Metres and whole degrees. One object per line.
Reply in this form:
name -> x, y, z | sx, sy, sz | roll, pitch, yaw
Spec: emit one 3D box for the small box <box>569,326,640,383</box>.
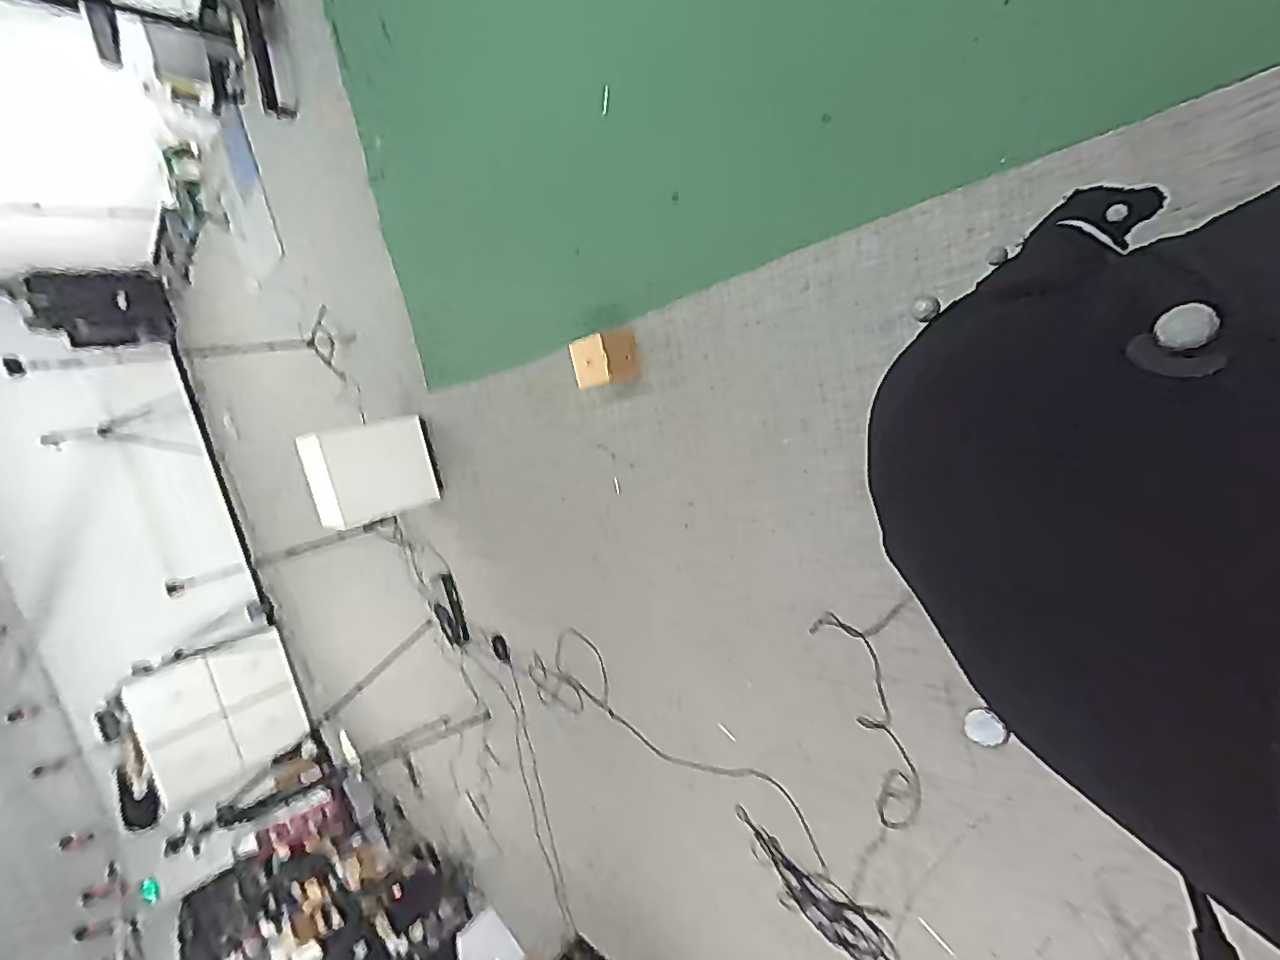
small box -> -0.128, -0.459, 1.976 | 0.179, 0.176, 0.168 | -5, 101, 44
